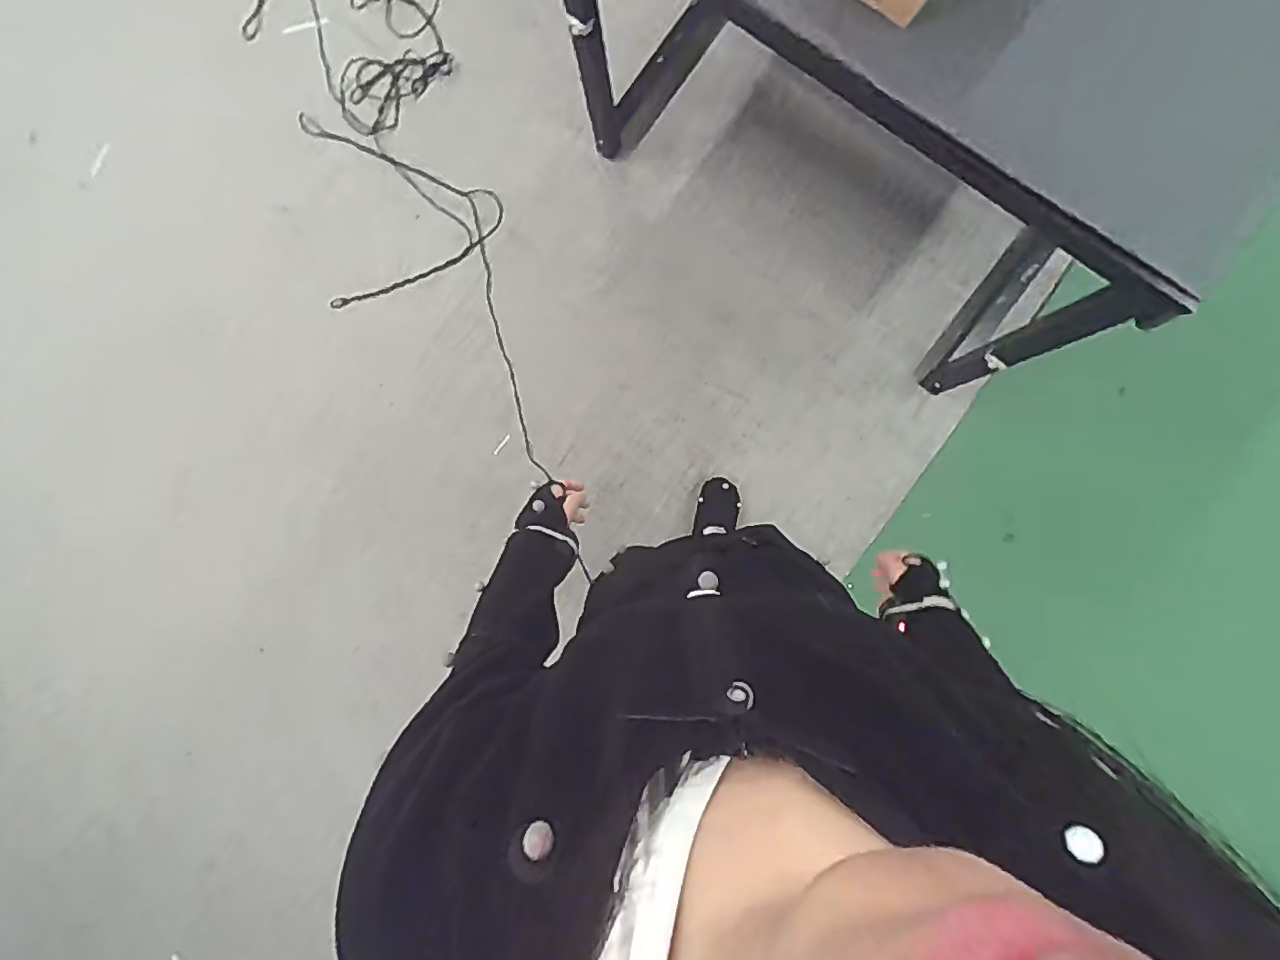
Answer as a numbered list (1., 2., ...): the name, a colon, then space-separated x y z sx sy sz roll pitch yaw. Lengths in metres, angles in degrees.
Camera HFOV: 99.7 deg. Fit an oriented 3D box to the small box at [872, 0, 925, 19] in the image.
1. small box: 0.362 -0.764 0.688 0.168 0.176 0.179 38 91 4
